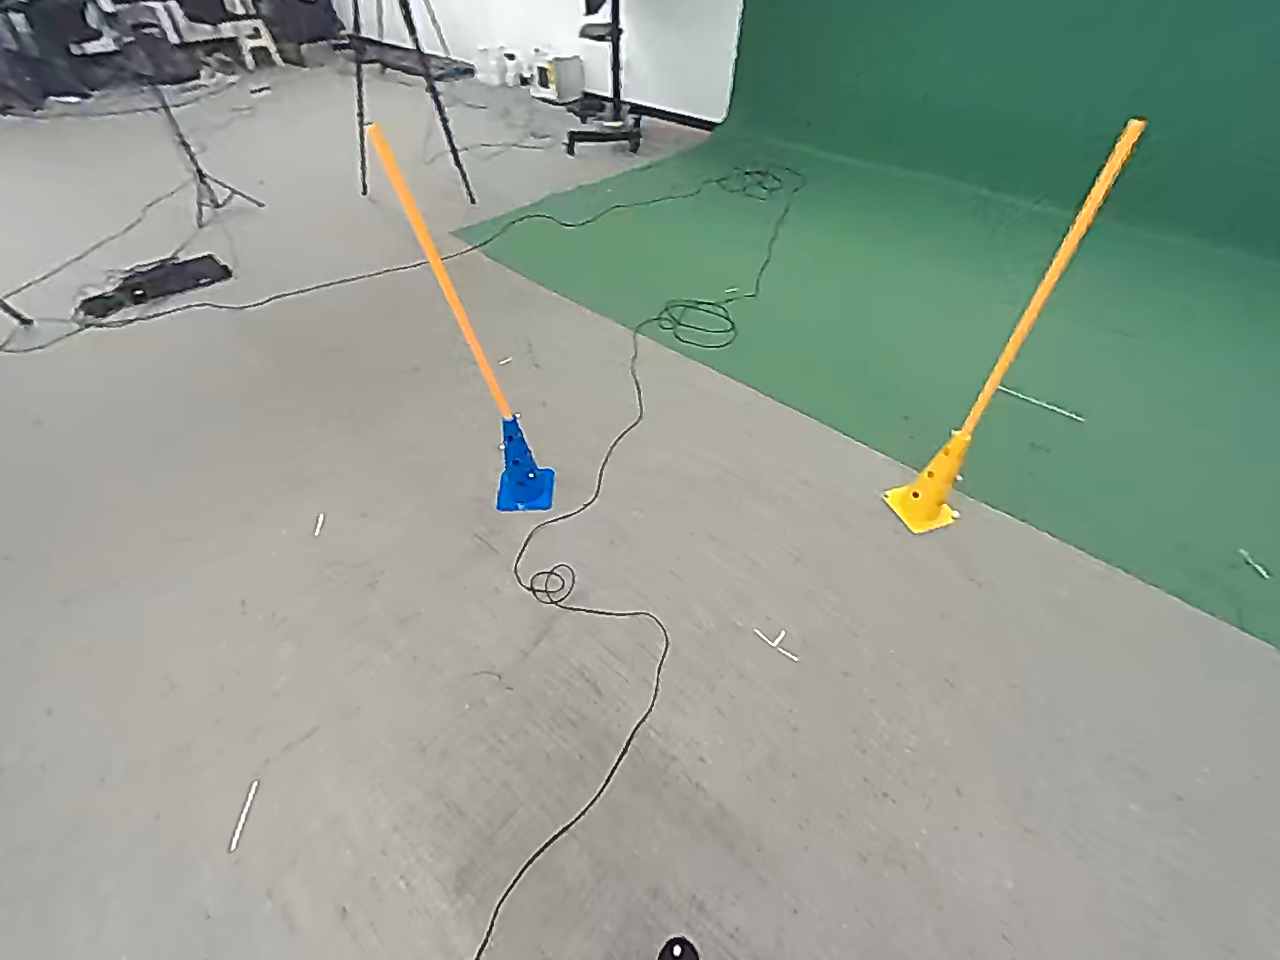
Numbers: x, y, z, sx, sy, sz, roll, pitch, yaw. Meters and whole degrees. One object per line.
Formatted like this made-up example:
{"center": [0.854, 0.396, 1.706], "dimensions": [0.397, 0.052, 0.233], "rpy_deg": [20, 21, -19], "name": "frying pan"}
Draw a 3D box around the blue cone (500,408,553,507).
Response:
{"center": [-0.418, -0.087, 1.856], "dimensions": [0.193, 0.380, 0.192], "rpy_deg": [-4, 48, -2], "name": "blue cone"}
